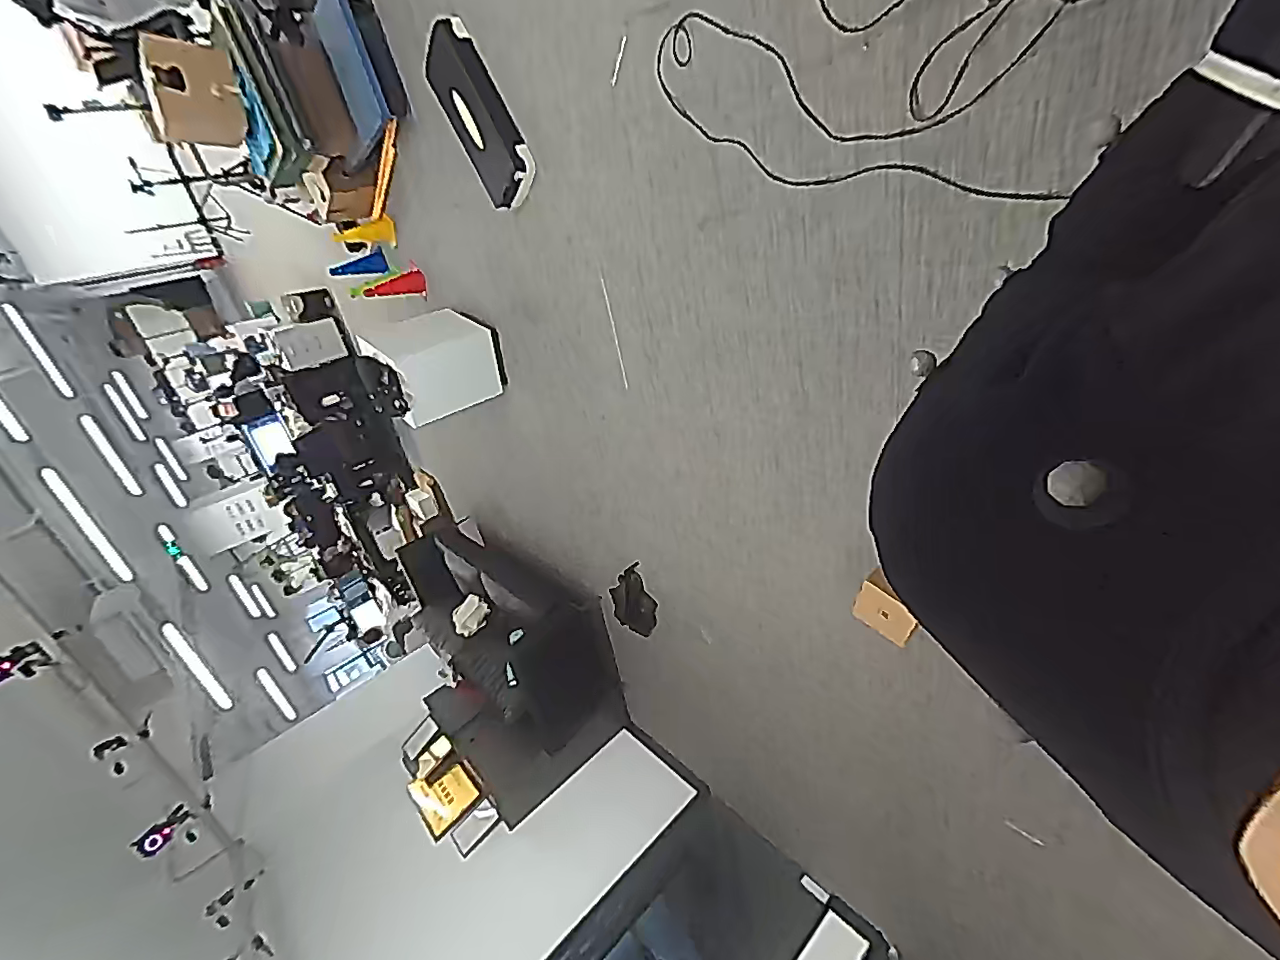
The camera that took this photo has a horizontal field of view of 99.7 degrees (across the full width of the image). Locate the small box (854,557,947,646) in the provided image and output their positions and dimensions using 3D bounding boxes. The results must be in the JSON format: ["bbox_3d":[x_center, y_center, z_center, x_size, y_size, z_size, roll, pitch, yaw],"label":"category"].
[{"bbox_3d":[0.792,0.361,1.646,0.179,0.176,0.168,34,141,34],"label":"small box"}]
